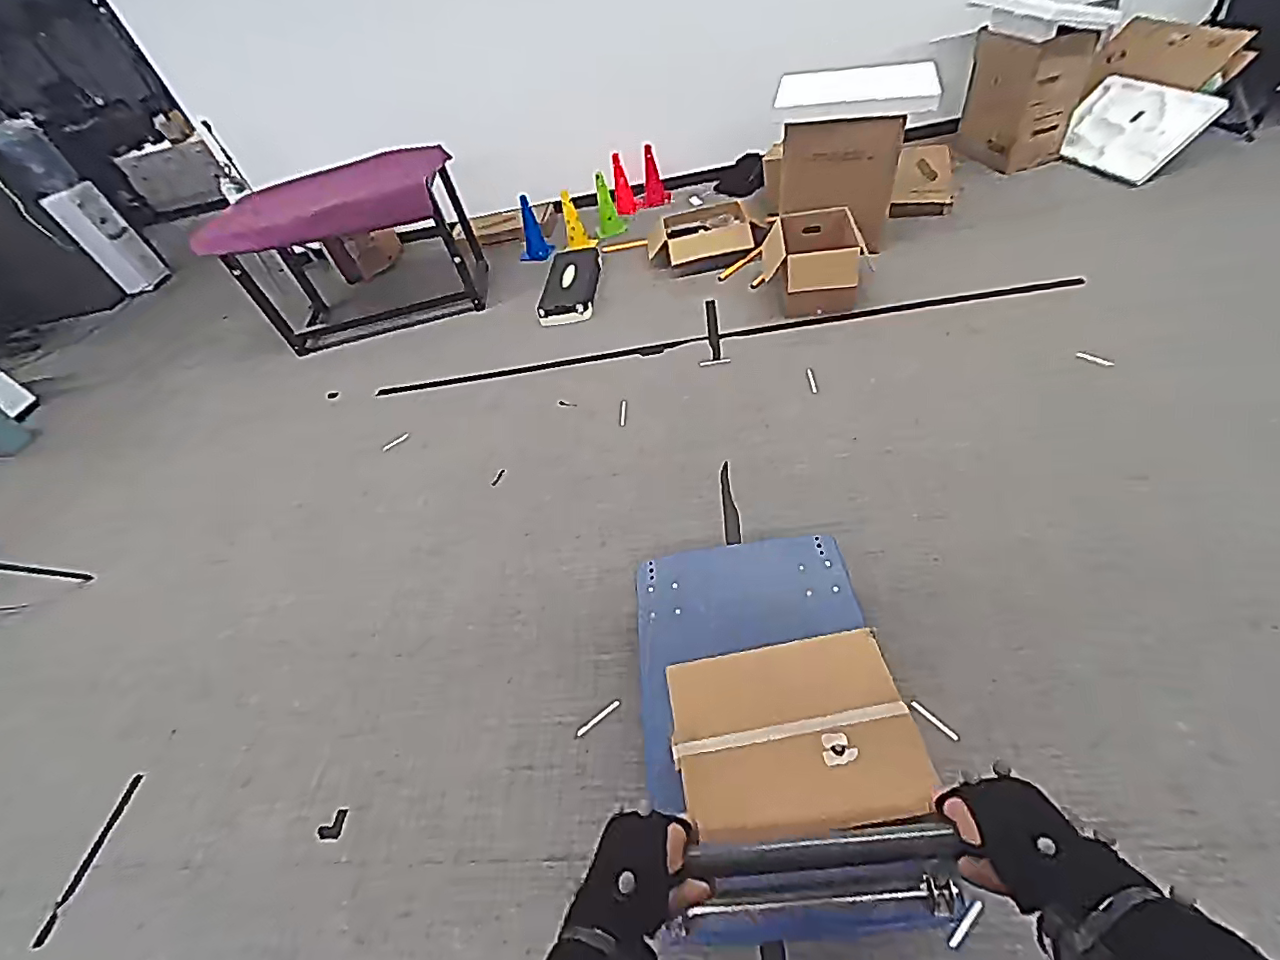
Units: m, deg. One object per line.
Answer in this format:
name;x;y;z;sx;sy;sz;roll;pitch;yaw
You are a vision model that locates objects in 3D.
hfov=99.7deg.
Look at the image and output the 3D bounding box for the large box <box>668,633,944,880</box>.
large box;0.289;0.545;1.058;0.408;0.320;0.320;-11;47;3
